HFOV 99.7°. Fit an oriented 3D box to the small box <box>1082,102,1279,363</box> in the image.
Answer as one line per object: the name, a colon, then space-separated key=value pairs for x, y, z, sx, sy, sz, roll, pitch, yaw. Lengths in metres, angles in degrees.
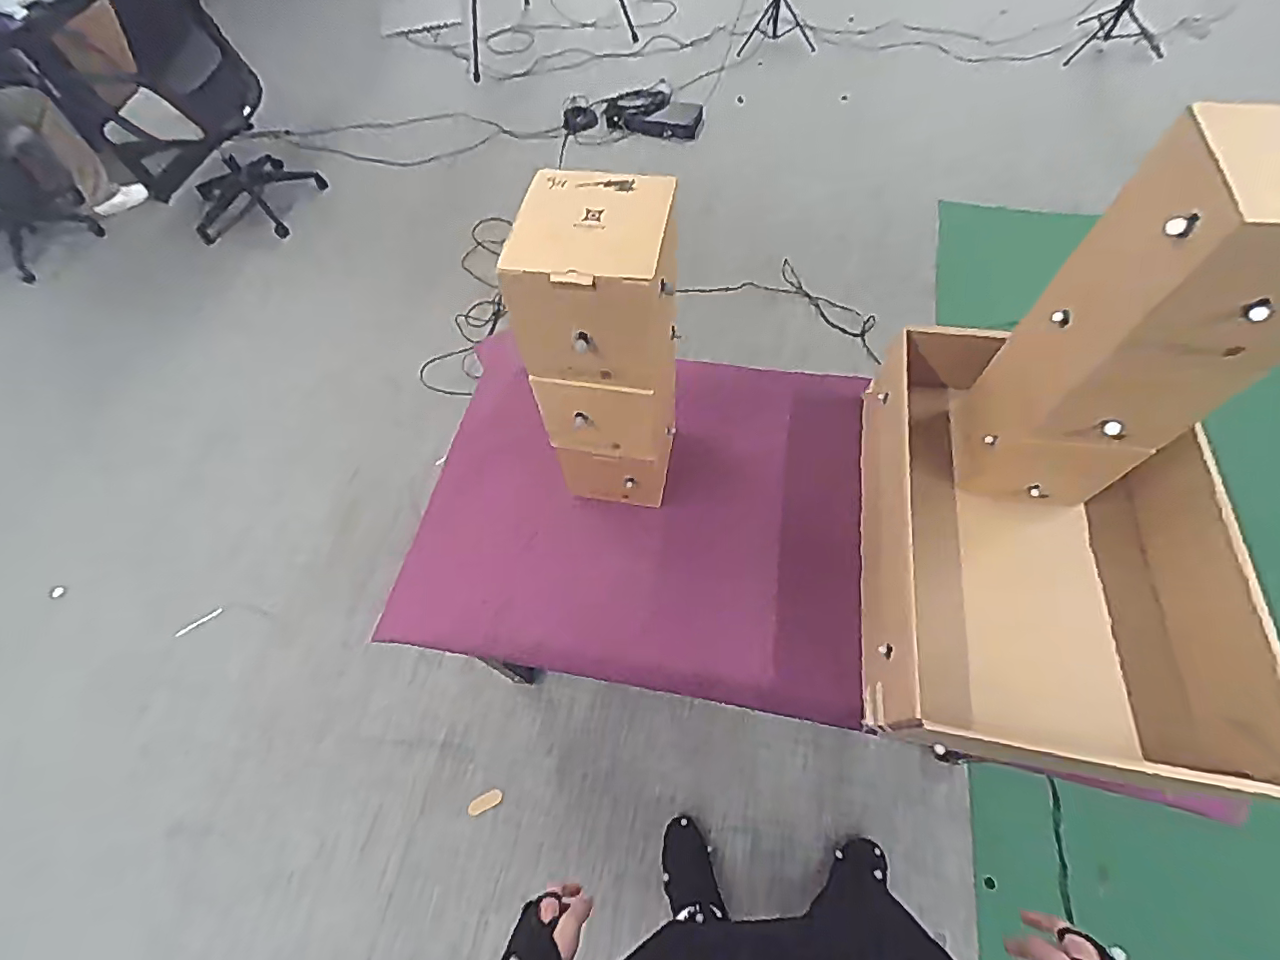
small box: x=0.590 y=-0.238 z=0.537 sx=0.168 sy=0.176 sz=0.179 roll=8 pitch=63 yaw=9

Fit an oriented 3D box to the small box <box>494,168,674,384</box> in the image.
small box: x=-0.051 y=-0.237 z=0.648 sx=0.168 sy=0.176 sz=0.179 roll=8 pitch=63 yaw=7

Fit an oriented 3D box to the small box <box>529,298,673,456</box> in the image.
small box: x=-0.044 y=-0.154 z=0.789 sx=0.168 sy=0.176 sz=0.179 roll=8 pitch=62 yaw=8

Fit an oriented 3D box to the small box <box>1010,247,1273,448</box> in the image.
small box: x=0.603 y=-0.164 z=0.685 sx=0.168 sy=0.176 sz=0.179 roll=6 pitch=64 yaw=9

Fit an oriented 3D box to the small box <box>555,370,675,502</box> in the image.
small box: x=-0.033 y=-0.080 z=0.933 sx=0.168 sy=0.176 sz=0.179 roll=9 pitch=62 yaw=7
